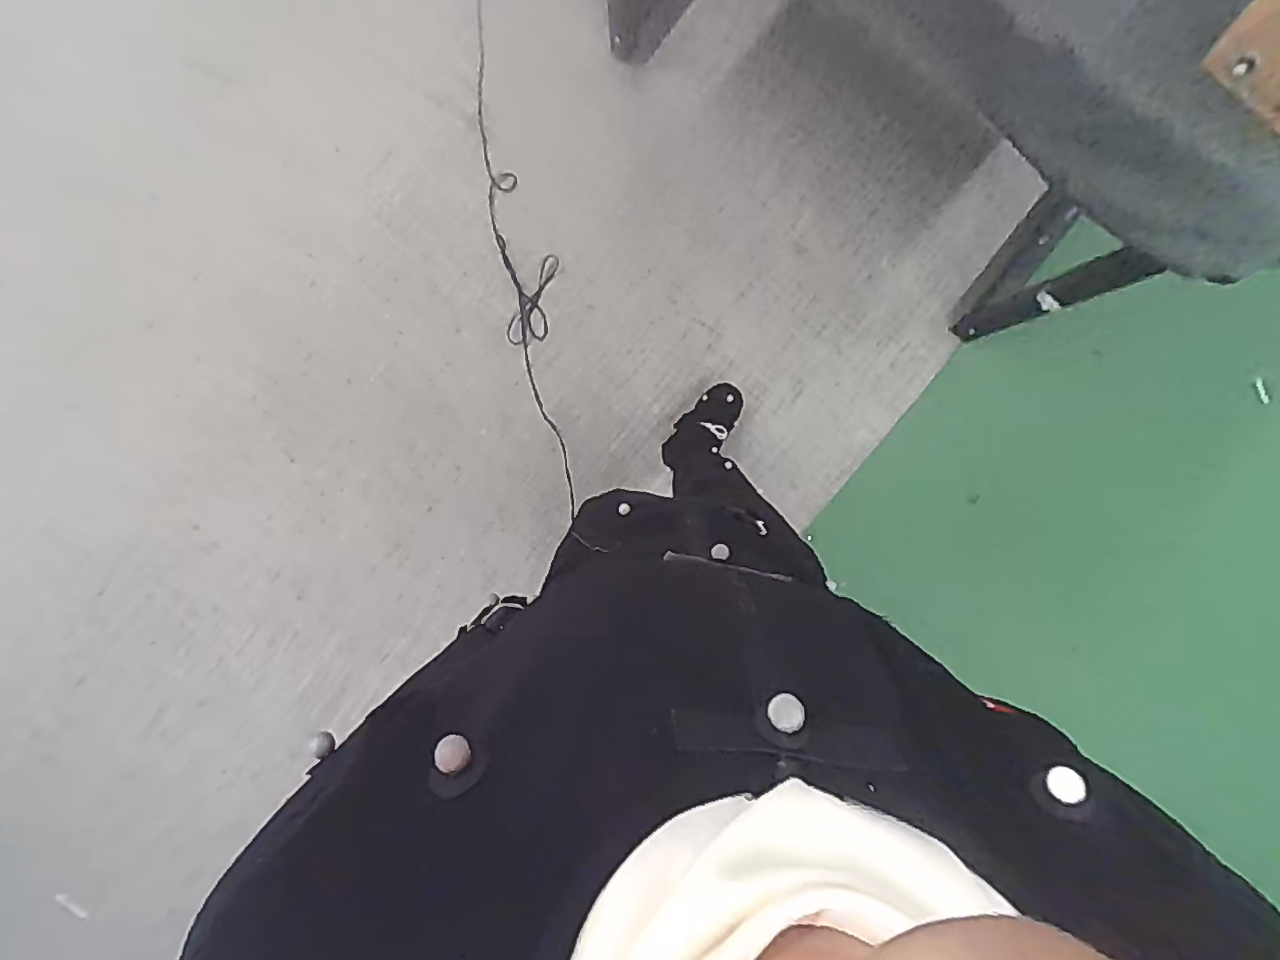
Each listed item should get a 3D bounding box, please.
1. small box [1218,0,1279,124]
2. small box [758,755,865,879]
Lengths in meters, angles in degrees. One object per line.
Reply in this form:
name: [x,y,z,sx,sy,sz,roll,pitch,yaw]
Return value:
small box: [0.808,-0.528,0.586,0.168,0.176,0.179,40,90,-1]
small box: [0.431,0.852,1.388,0.179,0.176,0.168,37,91,0]
